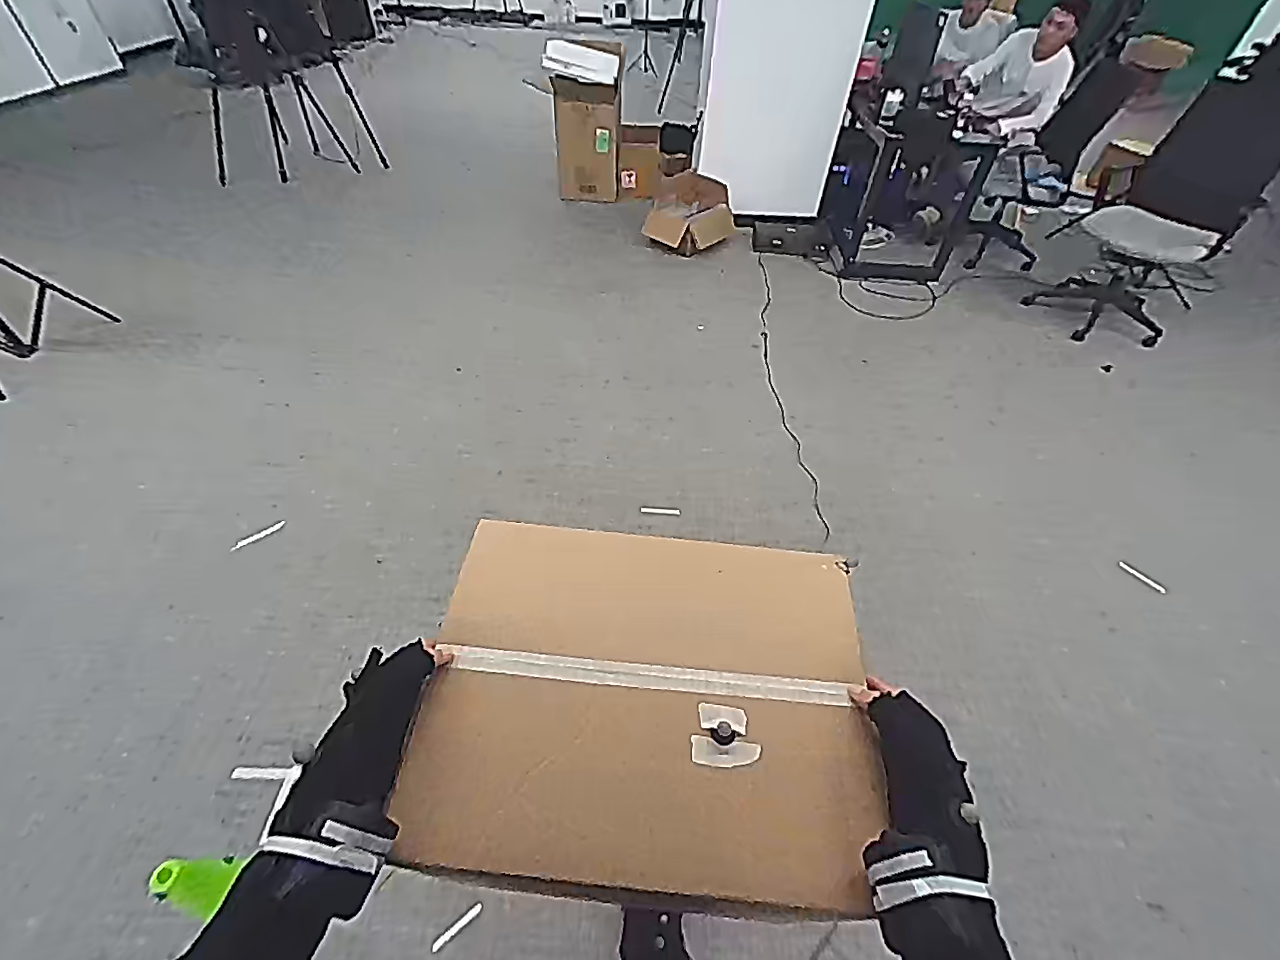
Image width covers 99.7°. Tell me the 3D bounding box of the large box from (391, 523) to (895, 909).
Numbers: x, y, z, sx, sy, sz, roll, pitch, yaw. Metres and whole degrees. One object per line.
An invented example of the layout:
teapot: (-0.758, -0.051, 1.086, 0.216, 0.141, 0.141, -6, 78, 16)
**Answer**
large box: (0.003, 0.278, 0.626, 0.408, 0.320, 0.320, 6, 50, 1)

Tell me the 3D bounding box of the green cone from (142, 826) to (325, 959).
green cone: (-0.779, 0.754, 1.003, 0.202, 0.368, 0.200, -27, 53, -23)
